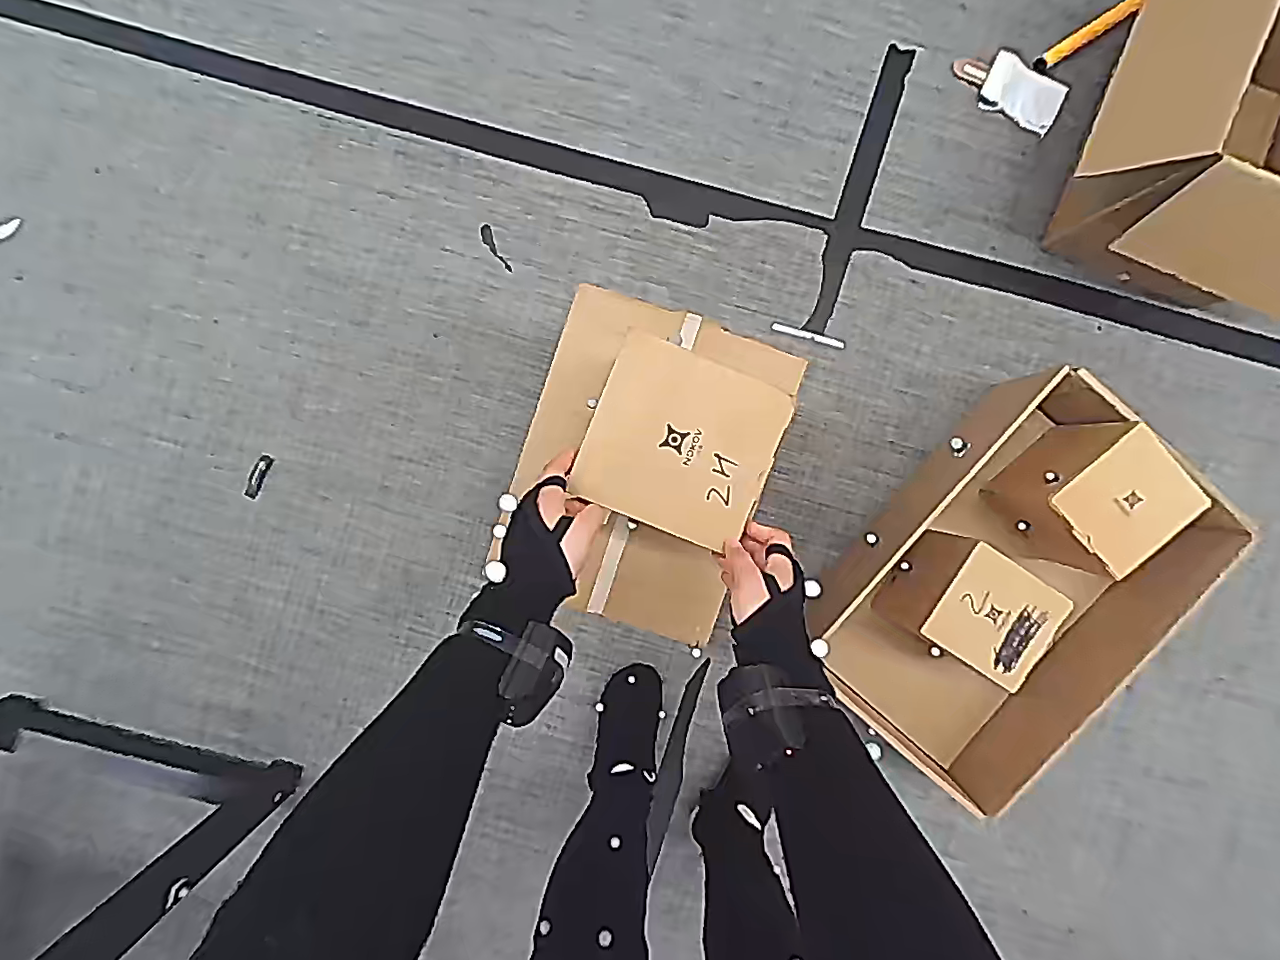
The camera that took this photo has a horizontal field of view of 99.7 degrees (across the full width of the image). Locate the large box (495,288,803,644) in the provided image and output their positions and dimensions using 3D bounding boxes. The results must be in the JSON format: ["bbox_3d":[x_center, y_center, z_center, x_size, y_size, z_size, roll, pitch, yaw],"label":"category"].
[{"bbox_3d":[0.011,-0.025,0.850,0.320,0.320,0.408,18,93,1],"label":"large box"}]

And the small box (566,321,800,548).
[{"bbox_3d":[0.037,-0.046,0.584,0.179,0.176,0.168,23,93,-5],"label":"small box"}]
